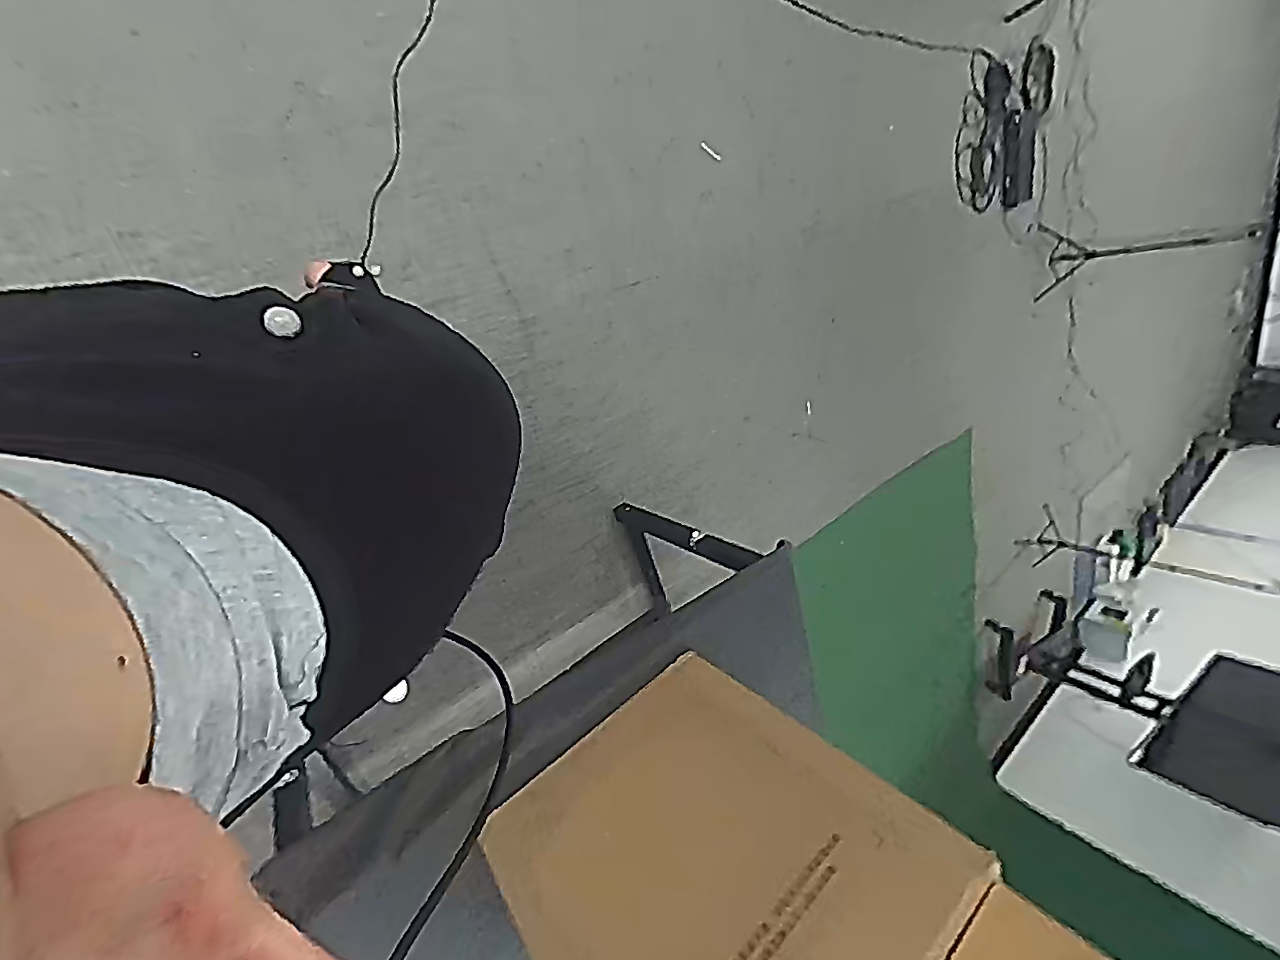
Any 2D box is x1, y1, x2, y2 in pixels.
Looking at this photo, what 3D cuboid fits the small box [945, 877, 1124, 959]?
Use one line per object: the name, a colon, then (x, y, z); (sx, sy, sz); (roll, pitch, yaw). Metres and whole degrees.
small box: (0.465, 0.622, 0.625); (0.179, 0.176, 0.168); (-33, 116, -28)
